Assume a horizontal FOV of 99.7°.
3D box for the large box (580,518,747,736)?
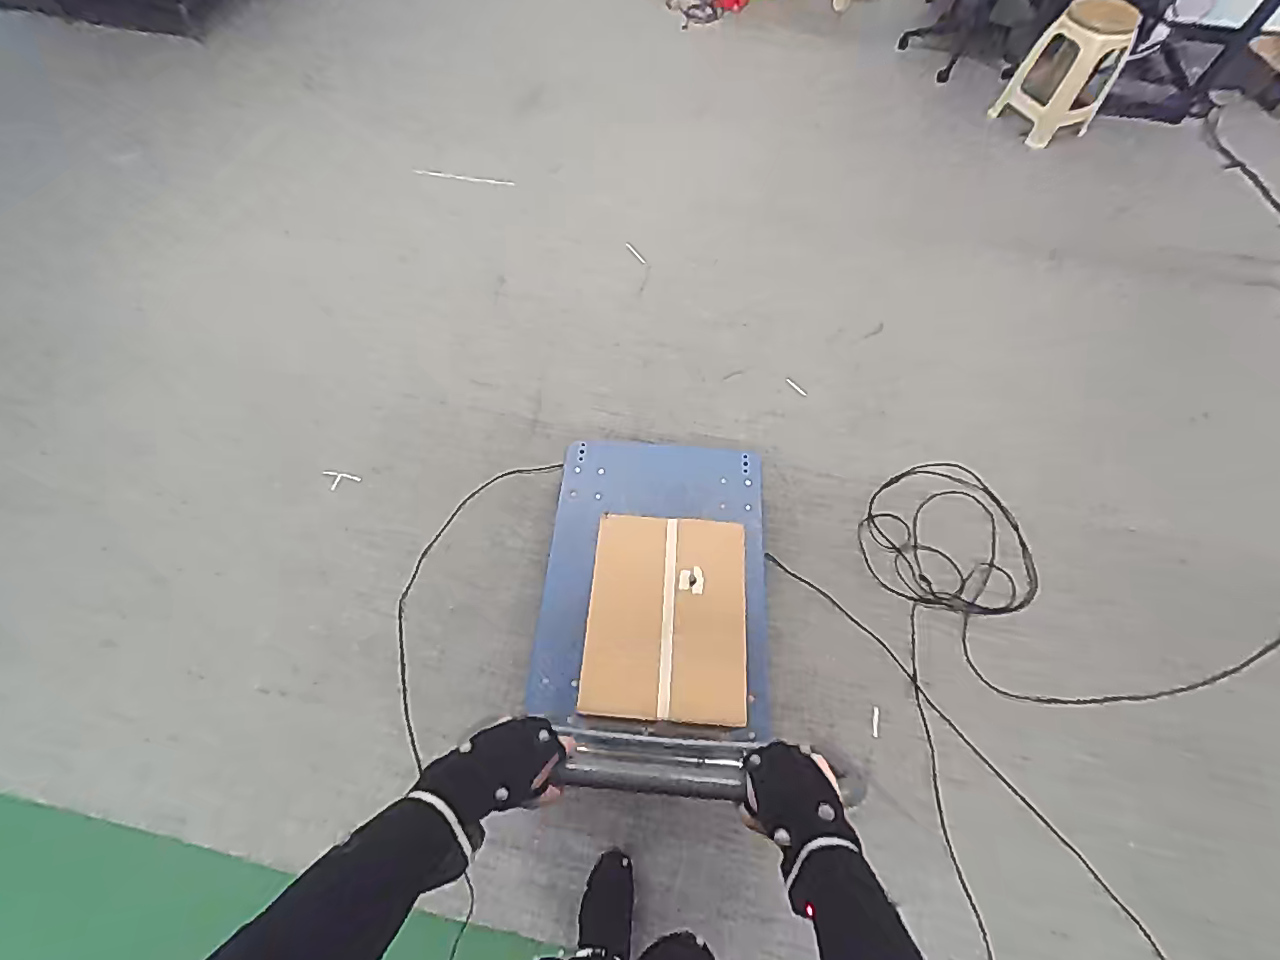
[{"bbox_3d":[0.052,0.337,1.210,0.320,0.320,0.408,5,61,1],"label":"large box"}]
